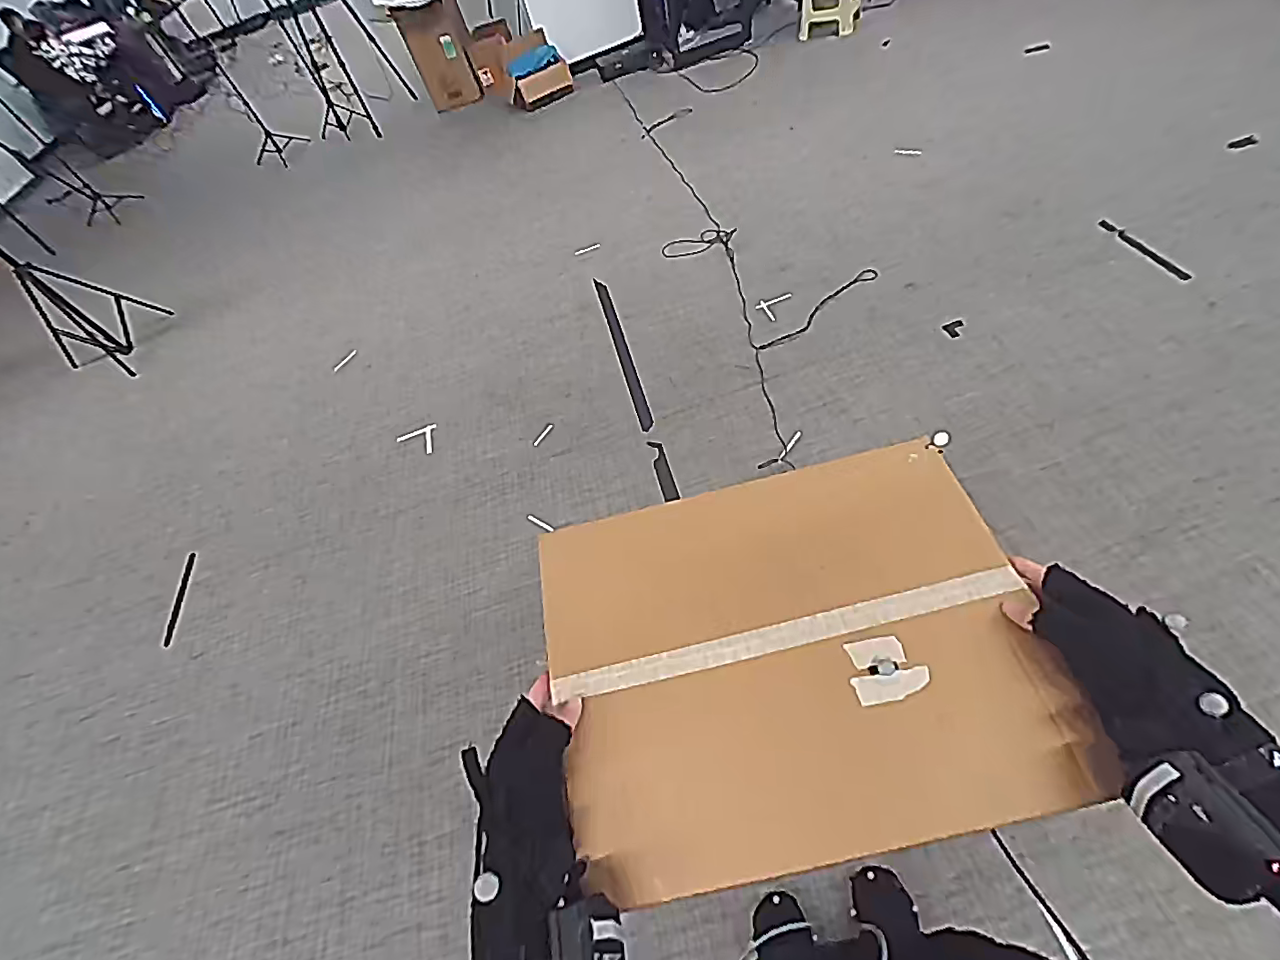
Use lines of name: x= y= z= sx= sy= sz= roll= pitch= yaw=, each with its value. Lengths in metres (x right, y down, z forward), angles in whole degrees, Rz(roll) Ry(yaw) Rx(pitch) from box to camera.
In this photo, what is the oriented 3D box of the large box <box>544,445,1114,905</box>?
large box: x=0.143 y=0.217 z=0.595 sx=0.408 sy=0.320 sz=0.320 roll=-14 pitch=56 yaw=1
